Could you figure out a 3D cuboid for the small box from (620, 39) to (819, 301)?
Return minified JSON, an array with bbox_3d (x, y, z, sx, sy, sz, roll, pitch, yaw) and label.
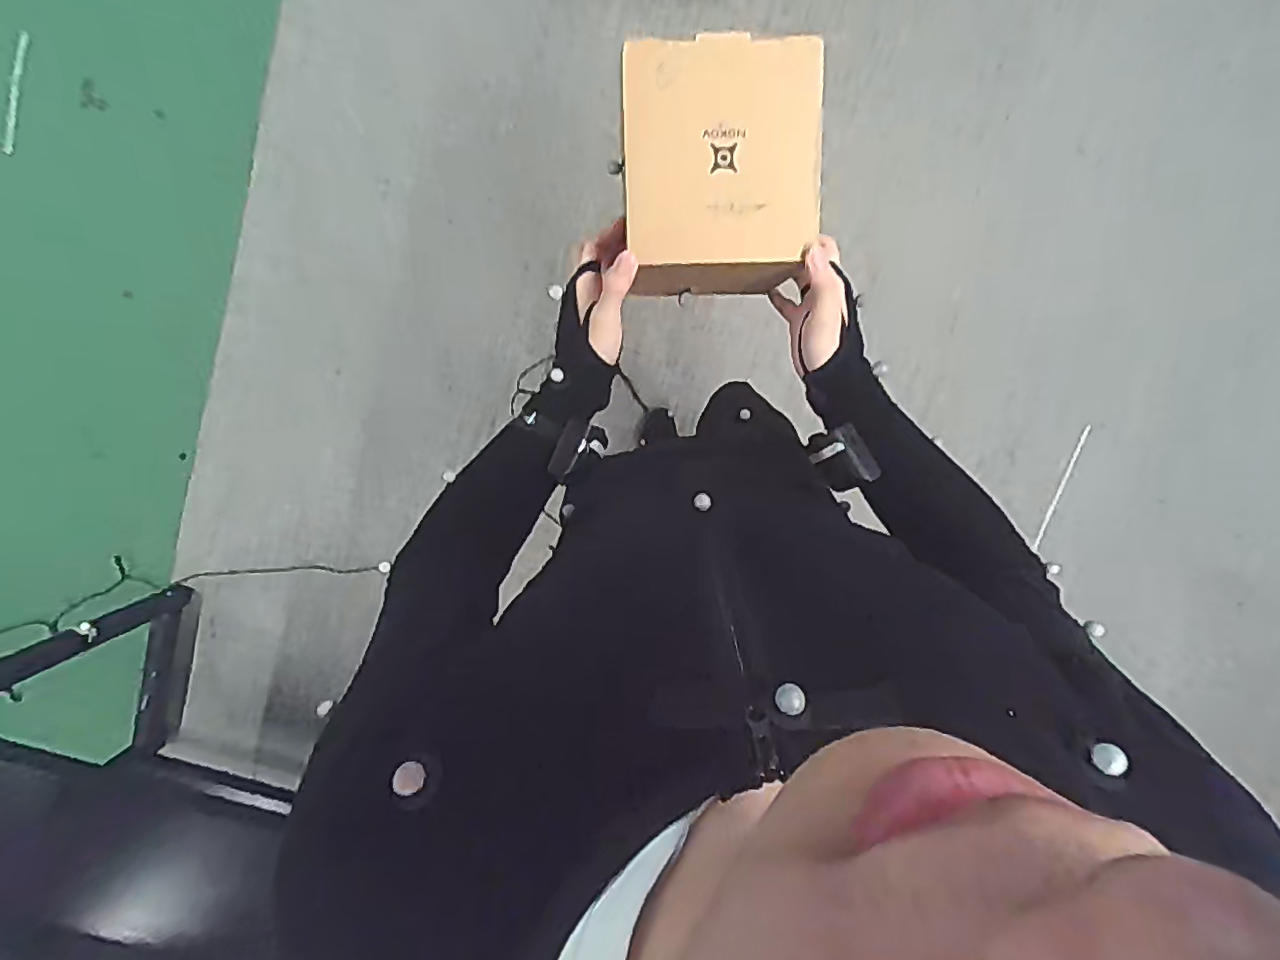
[{"bbox_3d":[0.063,-0.282,0.529,0.168,0.176,0.179,-1,98,-1],"label":"small box"}]
